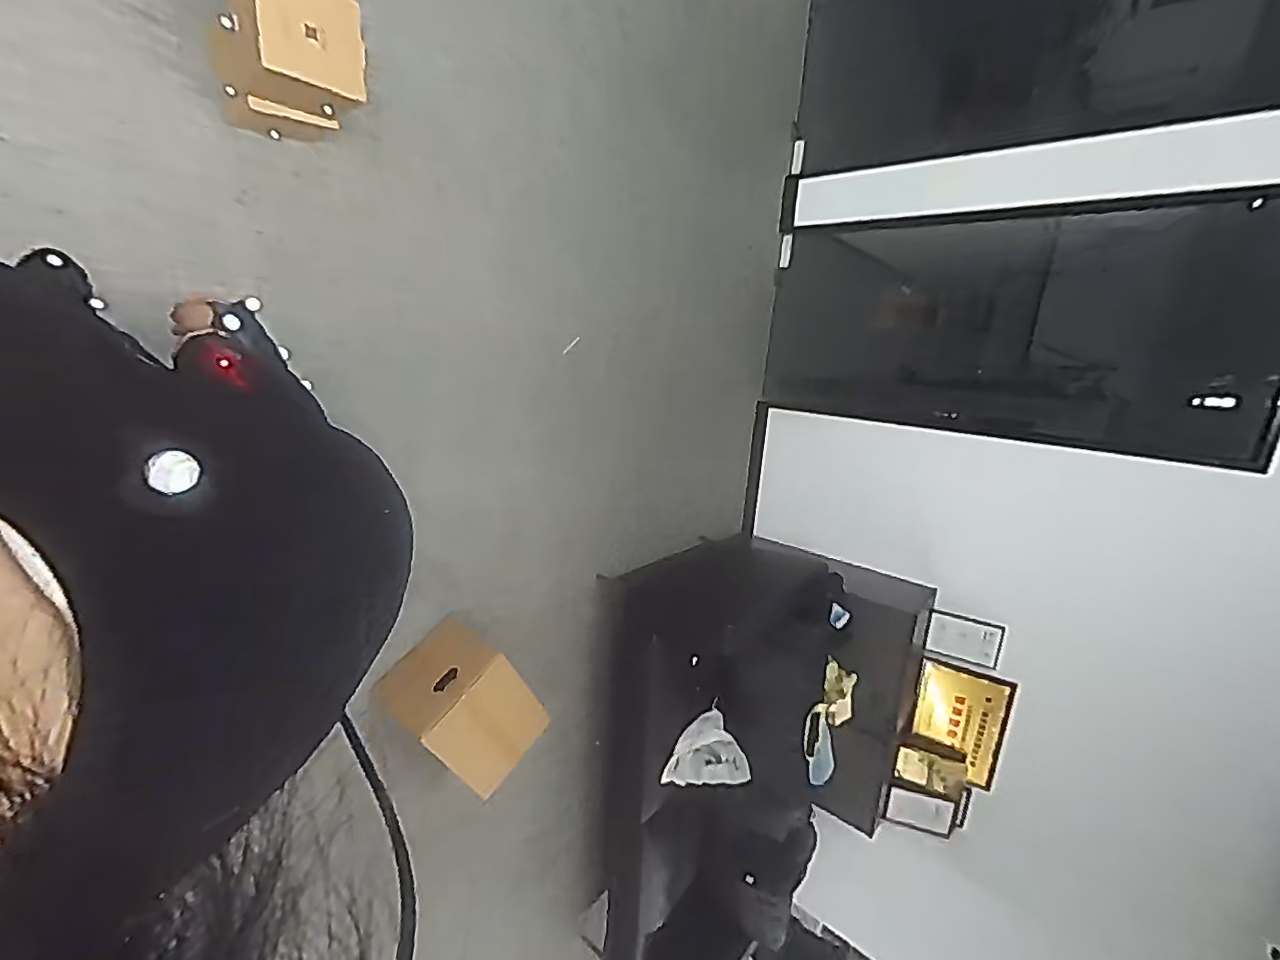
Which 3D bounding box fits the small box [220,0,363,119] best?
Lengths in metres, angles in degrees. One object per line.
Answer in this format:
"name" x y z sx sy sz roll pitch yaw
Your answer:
"small box" -0.646 -0.803 1.009 0.179 0.176 0.168 -14 112 -48
